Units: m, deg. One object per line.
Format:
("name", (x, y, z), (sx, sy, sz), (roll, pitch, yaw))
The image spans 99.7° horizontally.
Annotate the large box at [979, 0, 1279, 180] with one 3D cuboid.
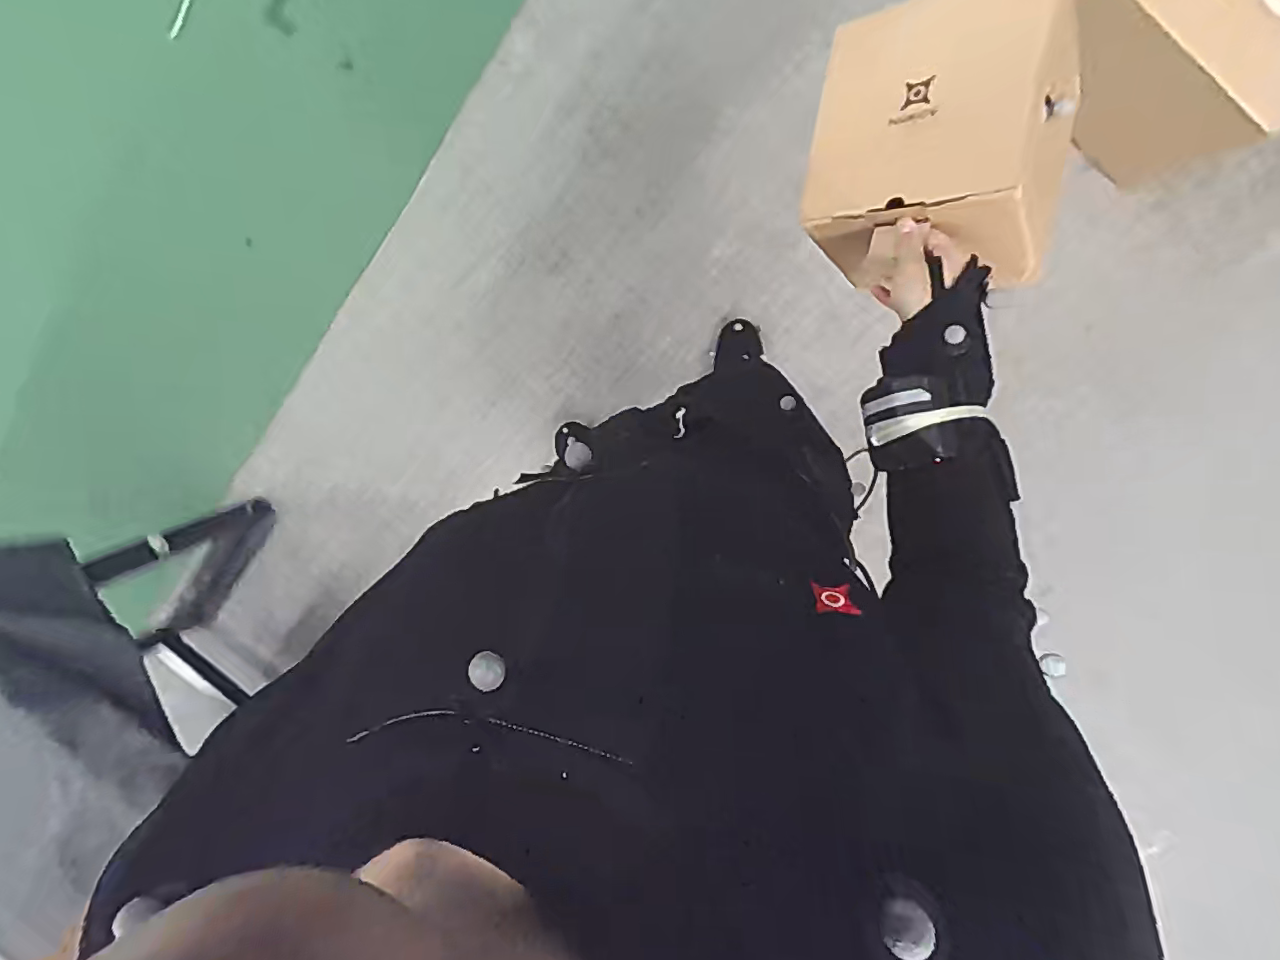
("large box", (0.864, -0.776, 0.859), (0.408, 0.320, 0.320), (40, 109, -5))
